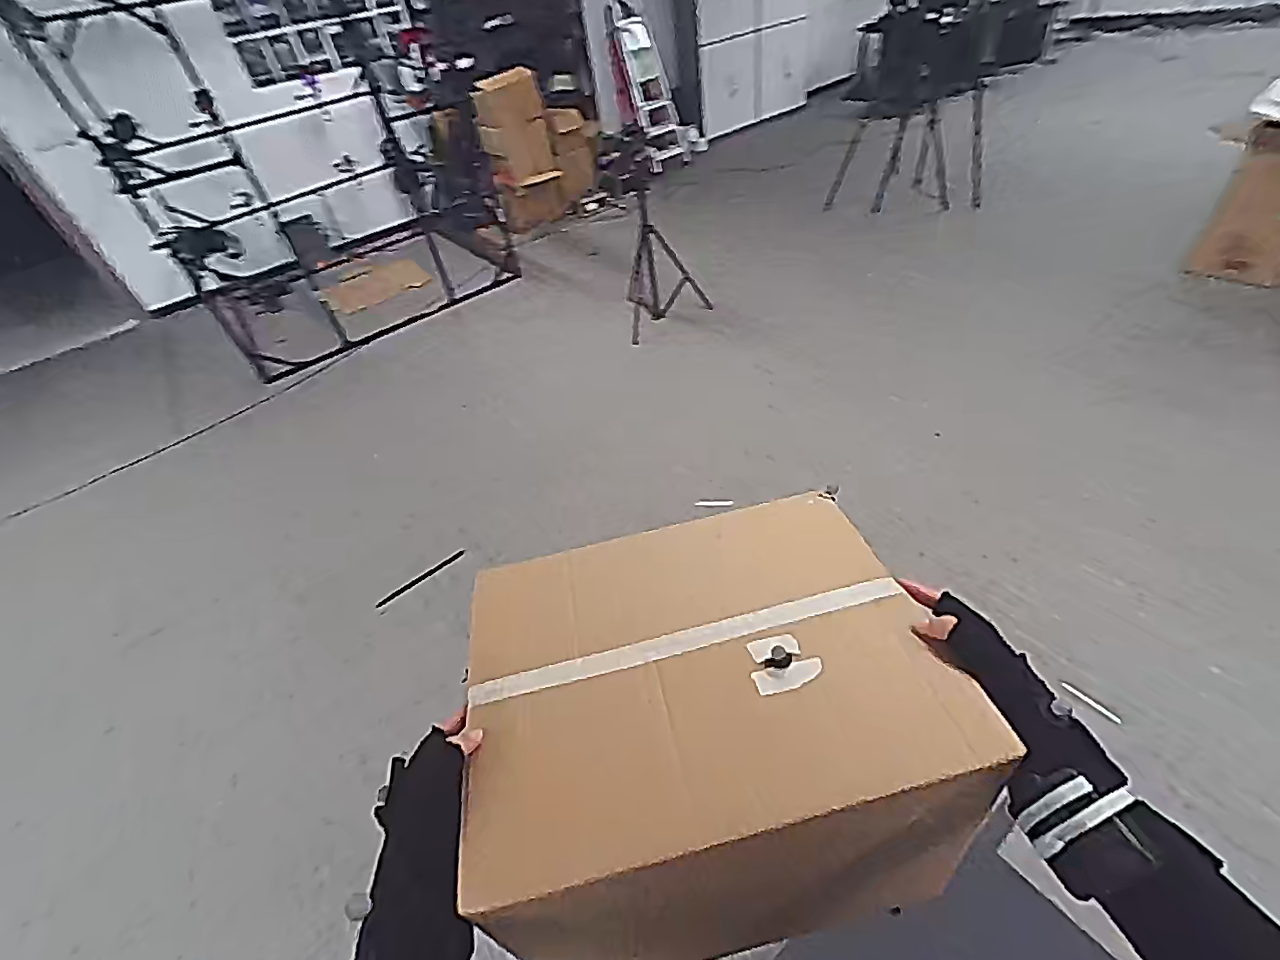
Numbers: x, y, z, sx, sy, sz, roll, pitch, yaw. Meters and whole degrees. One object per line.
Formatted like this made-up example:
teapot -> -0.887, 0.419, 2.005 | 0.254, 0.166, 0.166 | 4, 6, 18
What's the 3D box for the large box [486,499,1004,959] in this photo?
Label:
large box -> 0.075, 0.271, 0.596 | 0.408, 0.320, 0.320 | -13, 38, -3
